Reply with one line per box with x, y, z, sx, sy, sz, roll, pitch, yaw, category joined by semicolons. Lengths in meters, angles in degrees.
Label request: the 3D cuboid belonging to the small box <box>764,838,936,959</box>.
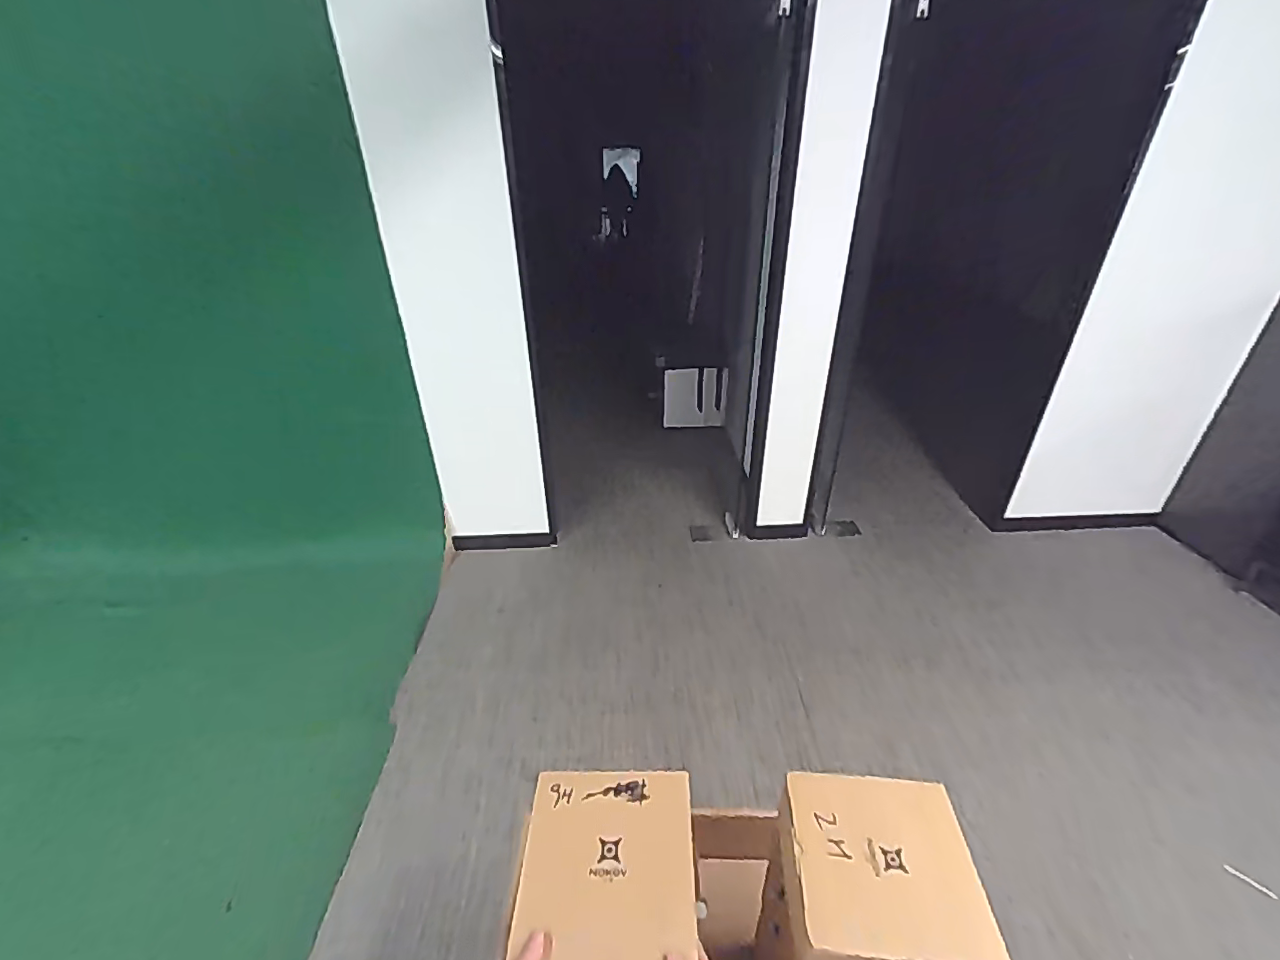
0.249;0.583;0.665;0.168;0.176;0.179;1;31;5;small box

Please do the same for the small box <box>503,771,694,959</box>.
-0.029;0.431;0.559;0.168;0.176;0.179;-2;33;2;small box
